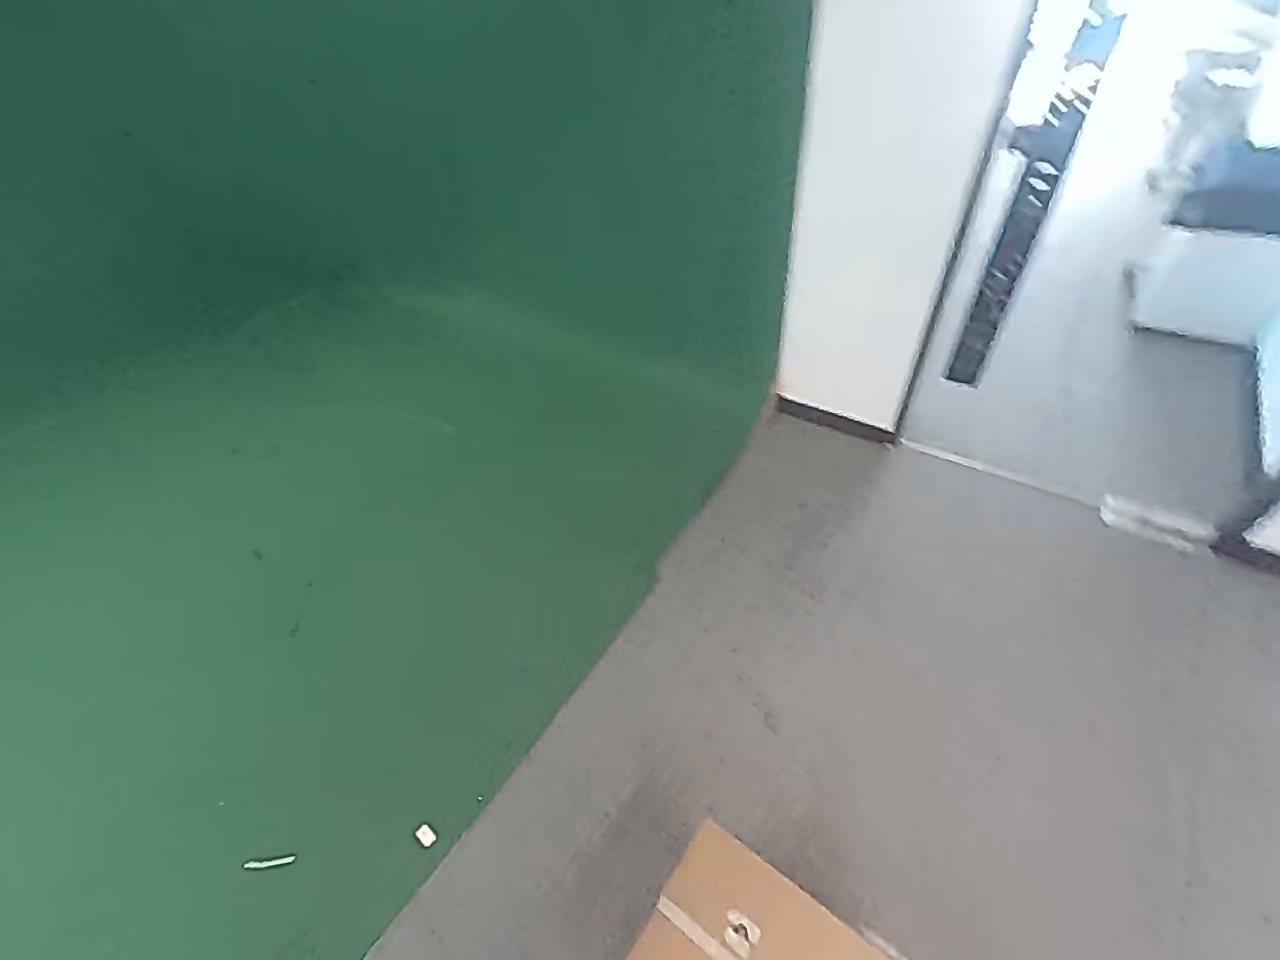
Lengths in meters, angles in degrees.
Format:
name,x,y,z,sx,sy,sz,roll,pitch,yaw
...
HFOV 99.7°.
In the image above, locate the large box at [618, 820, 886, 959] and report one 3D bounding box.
name,x,y,z,sx,sy,sz,roll,pitch,yaw
large box,0.197,0.904,0.950,0.408,0.320,0.320,25,54,29
